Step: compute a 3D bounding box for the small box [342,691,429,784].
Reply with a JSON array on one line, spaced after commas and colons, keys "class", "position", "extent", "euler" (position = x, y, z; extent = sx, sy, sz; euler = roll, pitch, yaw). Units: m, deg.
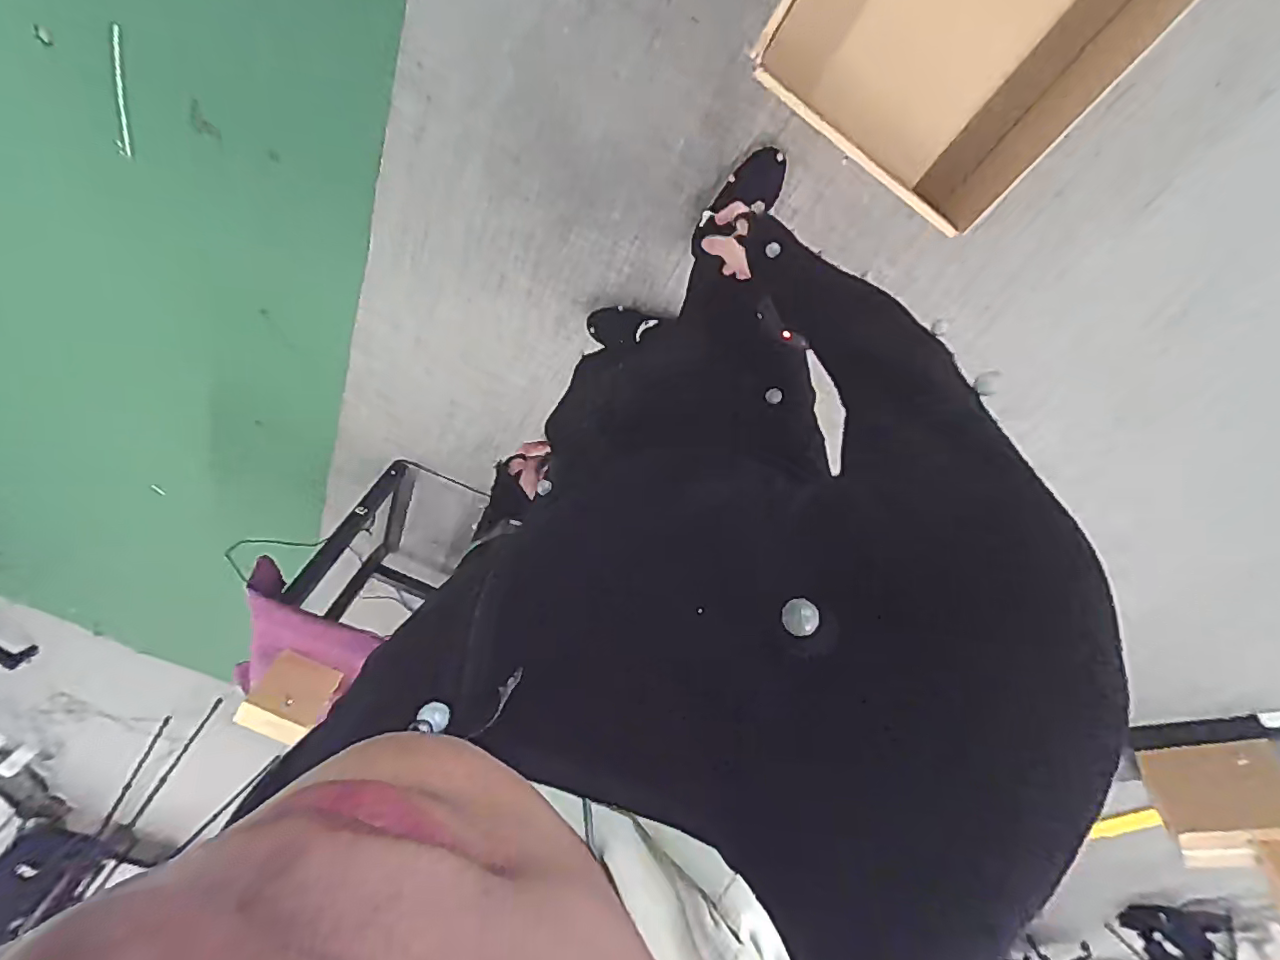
[{"class": "small box", "position": [-0.746, 0.758, 1.595], "extent": [0.168, 0.176, 0.179], "euler": [26, 129, -10]}]

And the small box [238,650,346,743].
[{"class": "small box", "position": [-0.971, 0.601, 1.517], "extent": [0.179, 0.176, 0.168], "euler": [34, 127, -17]}]
